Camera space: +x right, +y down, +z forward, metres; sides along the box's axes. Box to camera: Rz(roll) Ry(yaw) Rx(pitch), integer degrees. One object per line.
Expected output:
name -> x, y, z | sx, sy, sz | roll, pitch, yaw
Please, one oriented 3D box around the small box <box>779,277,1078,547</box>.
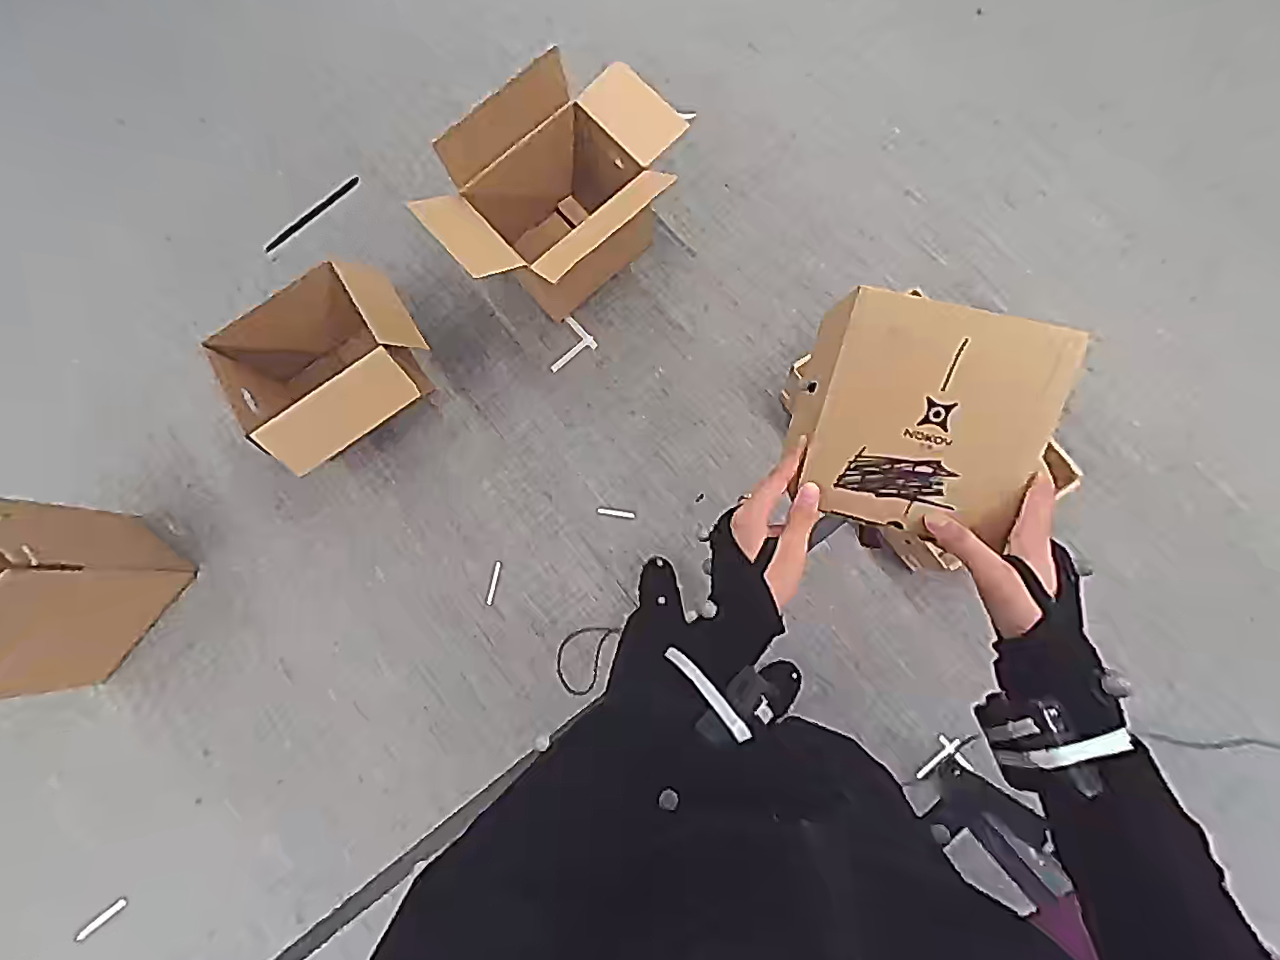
small box -> 0.228, -0.064, 0.486 | 0.168, 0.176, 0.179 | 14, 102, 7
